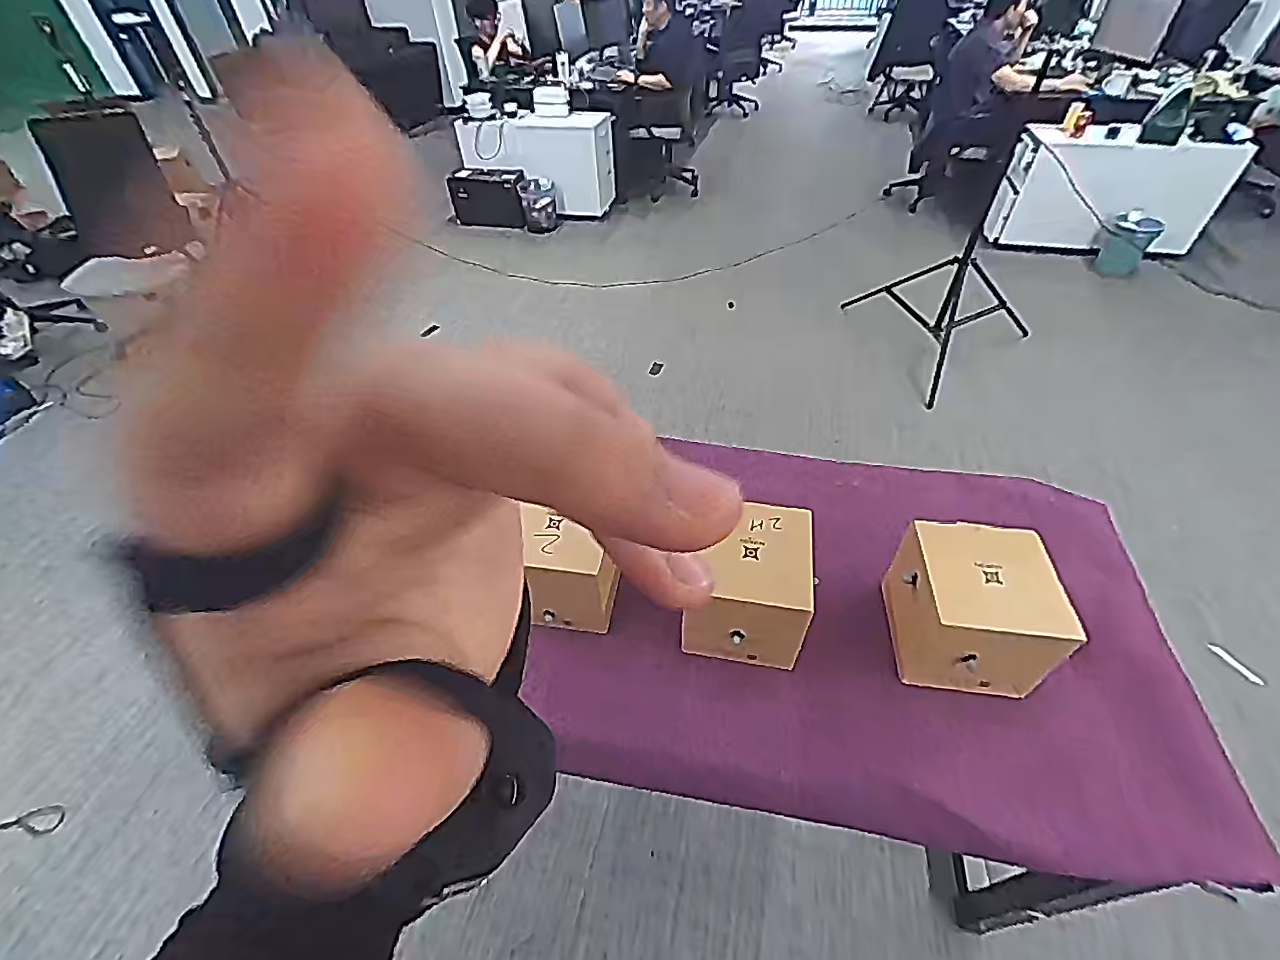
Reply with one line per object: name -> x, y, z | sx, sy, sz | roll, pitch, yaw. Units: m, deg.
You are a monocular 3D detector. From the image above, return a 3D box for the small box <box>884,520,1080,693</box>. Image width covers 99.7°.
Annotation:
small box -> 0.466, 0.181, 0.771 | 0.168, 0.176, 0.179 | 5, 44, 8

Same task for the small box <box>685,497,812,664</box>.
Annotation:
small box -> 0.160, 0.152, 0.813 | 0.168, 0.176, 0.179 | 8, 46, 9
